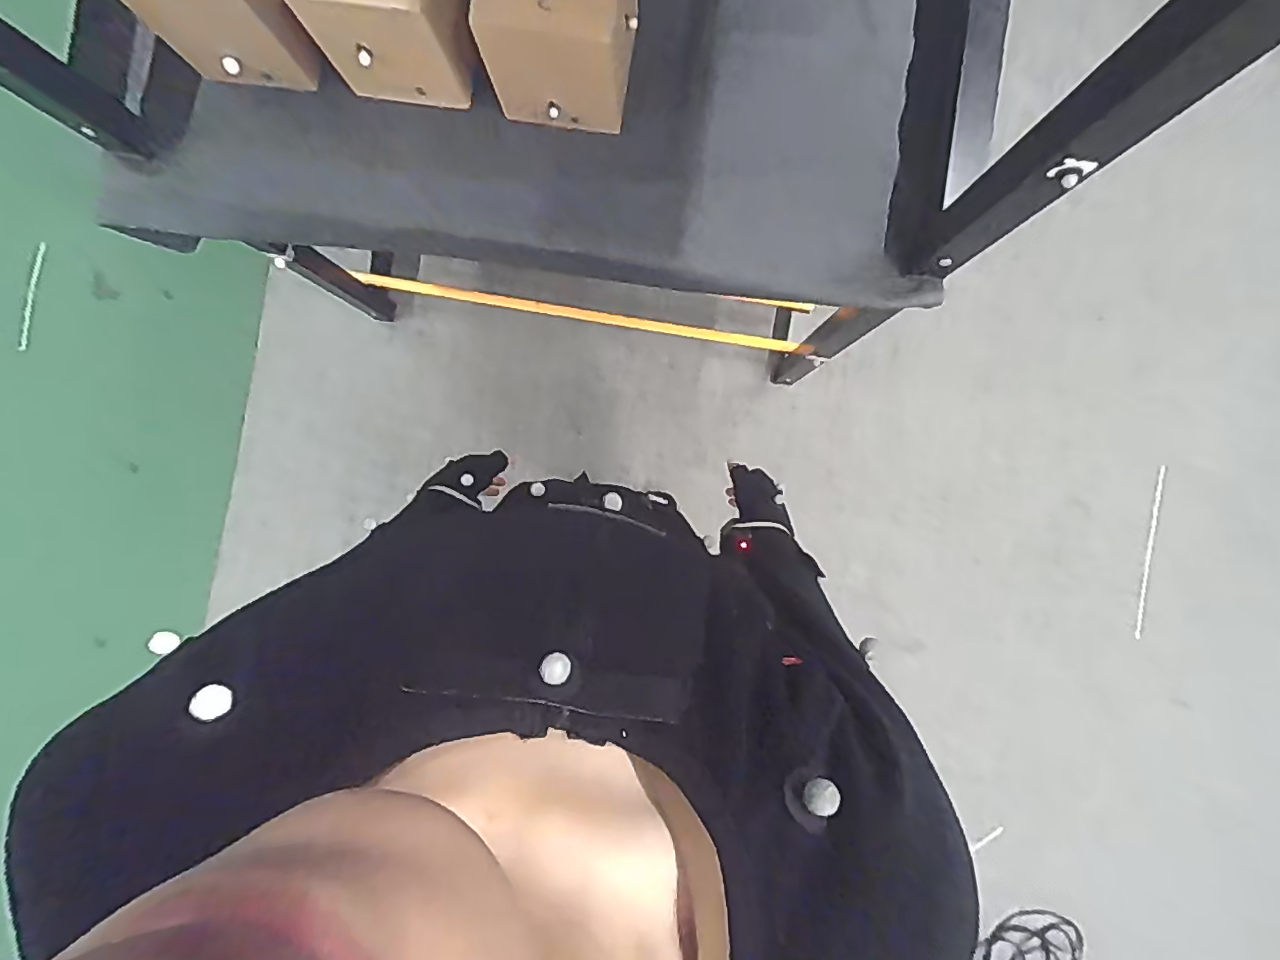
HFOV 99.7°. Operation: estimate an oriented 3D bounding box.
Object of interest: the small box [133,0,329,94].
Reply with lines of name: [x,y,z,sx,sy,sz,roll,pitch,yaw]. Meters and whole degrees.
small box: [-0.530,-0.648,0.695,0.168,0.176,0.179,7,90,1]
